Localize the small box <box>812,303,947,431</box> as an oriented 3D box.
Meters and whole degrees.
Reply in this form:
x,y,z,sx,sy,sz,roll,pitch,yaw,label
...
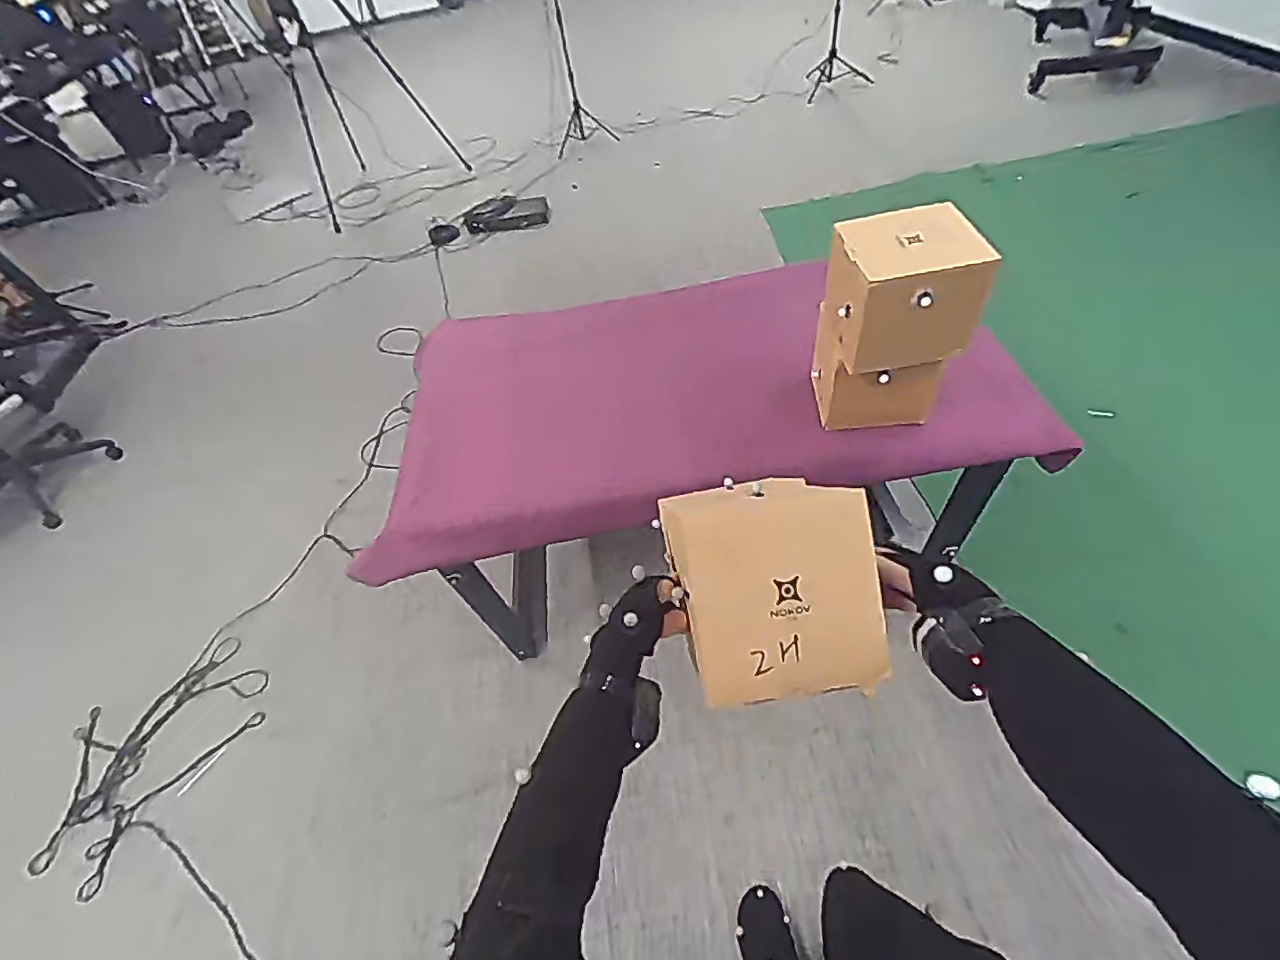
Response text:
x,y,z,sx,sy,sz,roll,pitch,yaw,label
0.414,-0.205,0.965,0.179,0.176,0.168,-4,51,9,small box

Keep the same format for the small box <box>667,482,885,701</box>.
x,y,z,sx,sy,sz,roll,pitch,yaw,label
0.122,0.097,0.552,0.168,0.176,0.179,-8,91,-1,small box

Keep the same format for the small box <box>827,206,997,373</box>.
x,y,z,sx,sy,sz,roll,pitch,yaw,label
0.391,-0.282,0.820,0.179,0.176,0.168,-8,51,5,small box

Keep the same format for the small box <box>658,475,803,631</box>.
x,y,z,sx,sy,sz,roll,pitch,yaw,label
0.121,0.089,0.718,0.179,0.176,0.168,-11,91,0,small box
